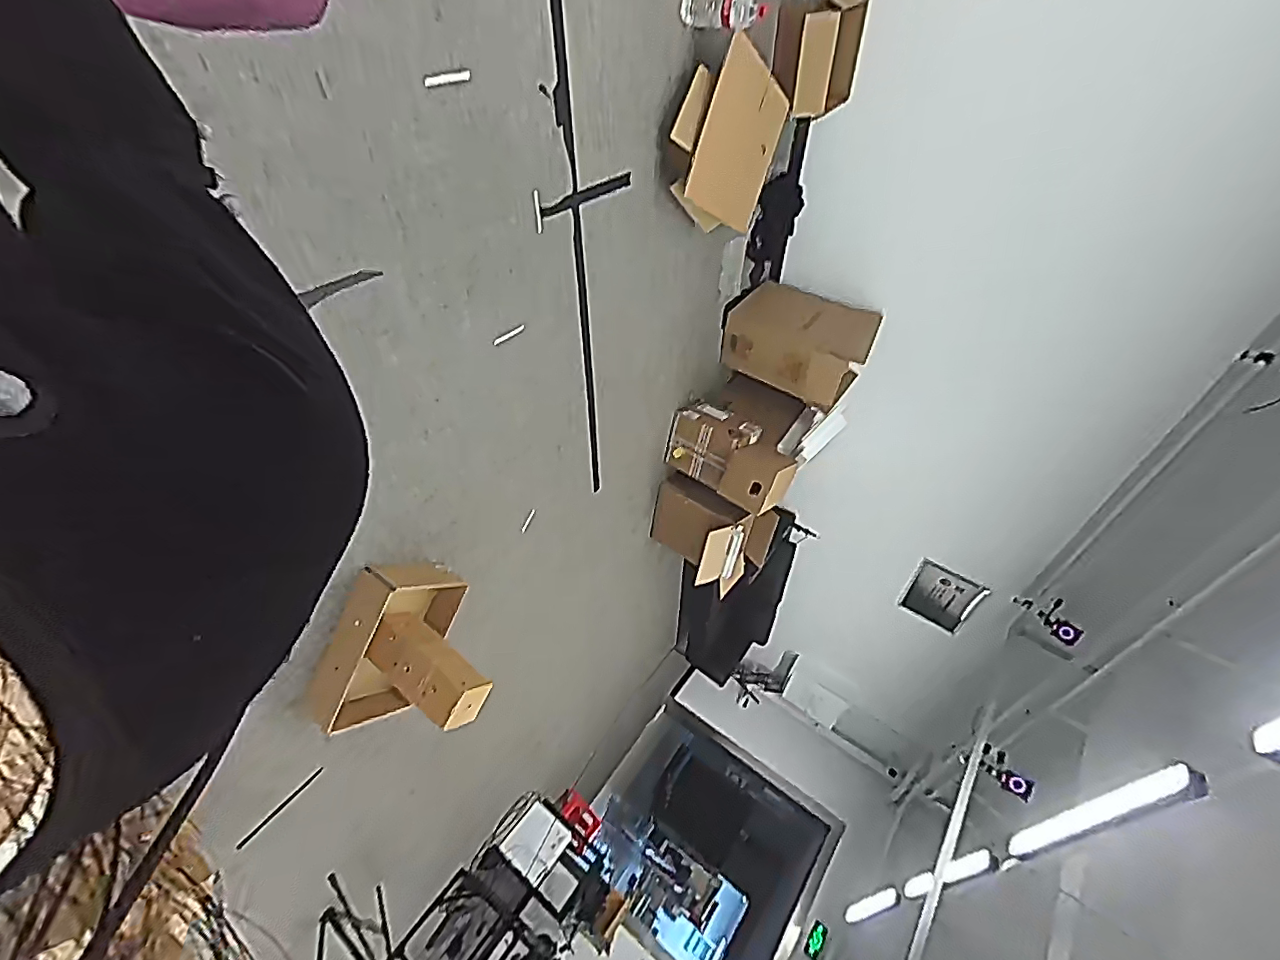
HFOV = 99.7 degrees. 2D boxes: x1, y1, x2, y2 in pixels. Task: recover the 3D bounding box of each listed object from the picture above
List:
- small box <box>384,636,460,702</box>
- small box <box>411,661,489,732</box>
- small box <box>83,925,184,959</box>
[{"bbox_3d":[-0.835,0.713,2.061,0.168,0.176,0.179,-61,156,1],"label":"small box"},{"bbox_3d":[-0.704,0.792,2.003,0.168,0.176,0.179,-62,156,2],"label":"small box"},{"bbox_3d":[-1.371,1.334,1.427,0.179,0.176,0.168,-61,155,0],"label":"small box"}]
